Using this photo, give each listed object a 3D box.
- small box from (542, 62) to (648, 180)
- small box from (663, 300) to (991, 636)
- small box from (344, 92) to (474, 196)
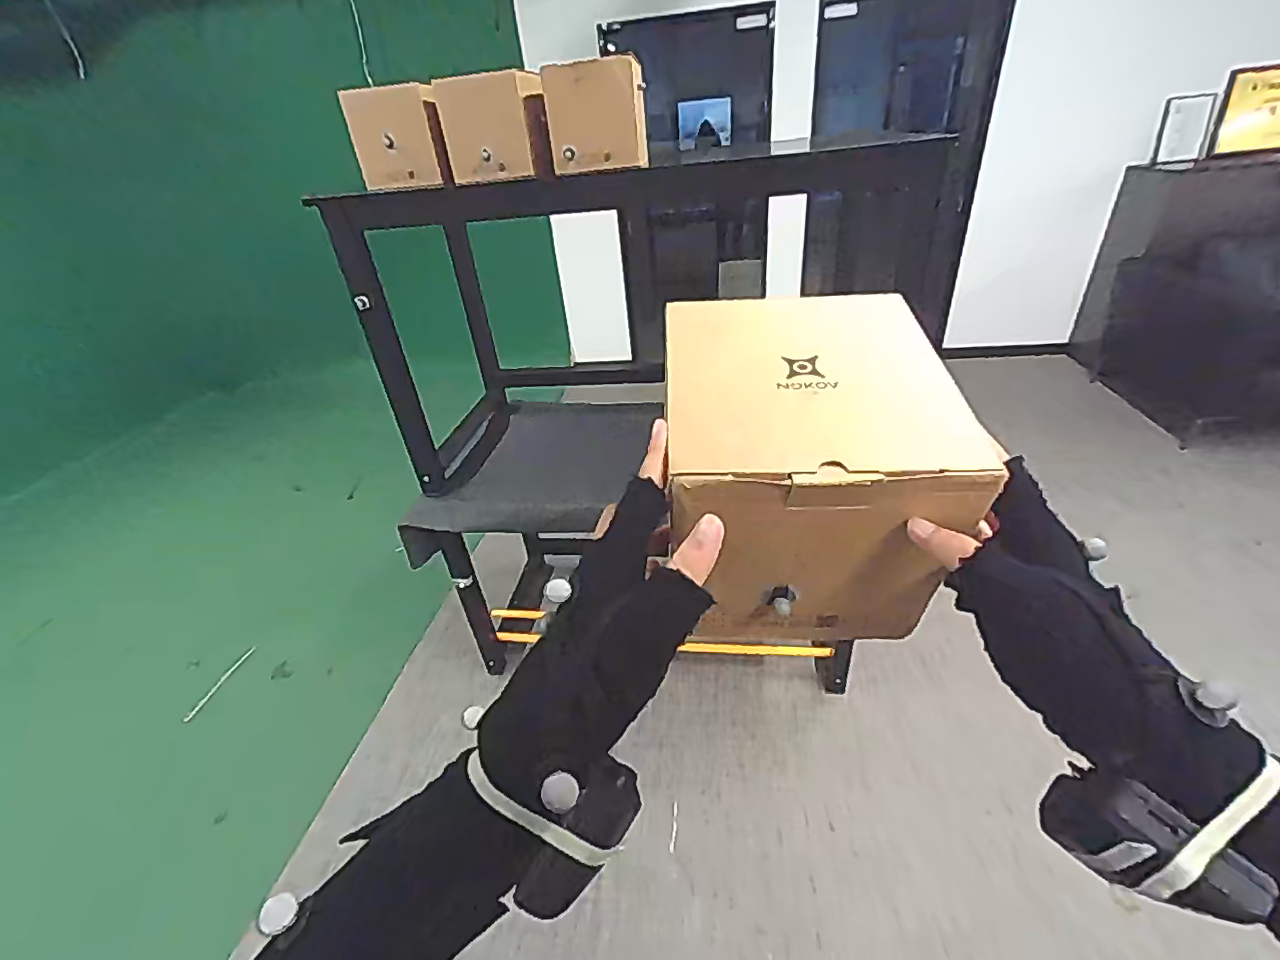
[{"bbox_3d":[-0.076,-0.684,1.047,0.168,0.176,0.179,-1,32,7],"label":"small box"},{"bbox_3d":[0.100,-0.009,0.387,0.168,0.176,0.179,-1,46,3],"label":"small box"},{"bbox_3d":[-0.466,-0.694,1.126,0.168,0.176,0.179,1,33,8],"label":"small box"}]
